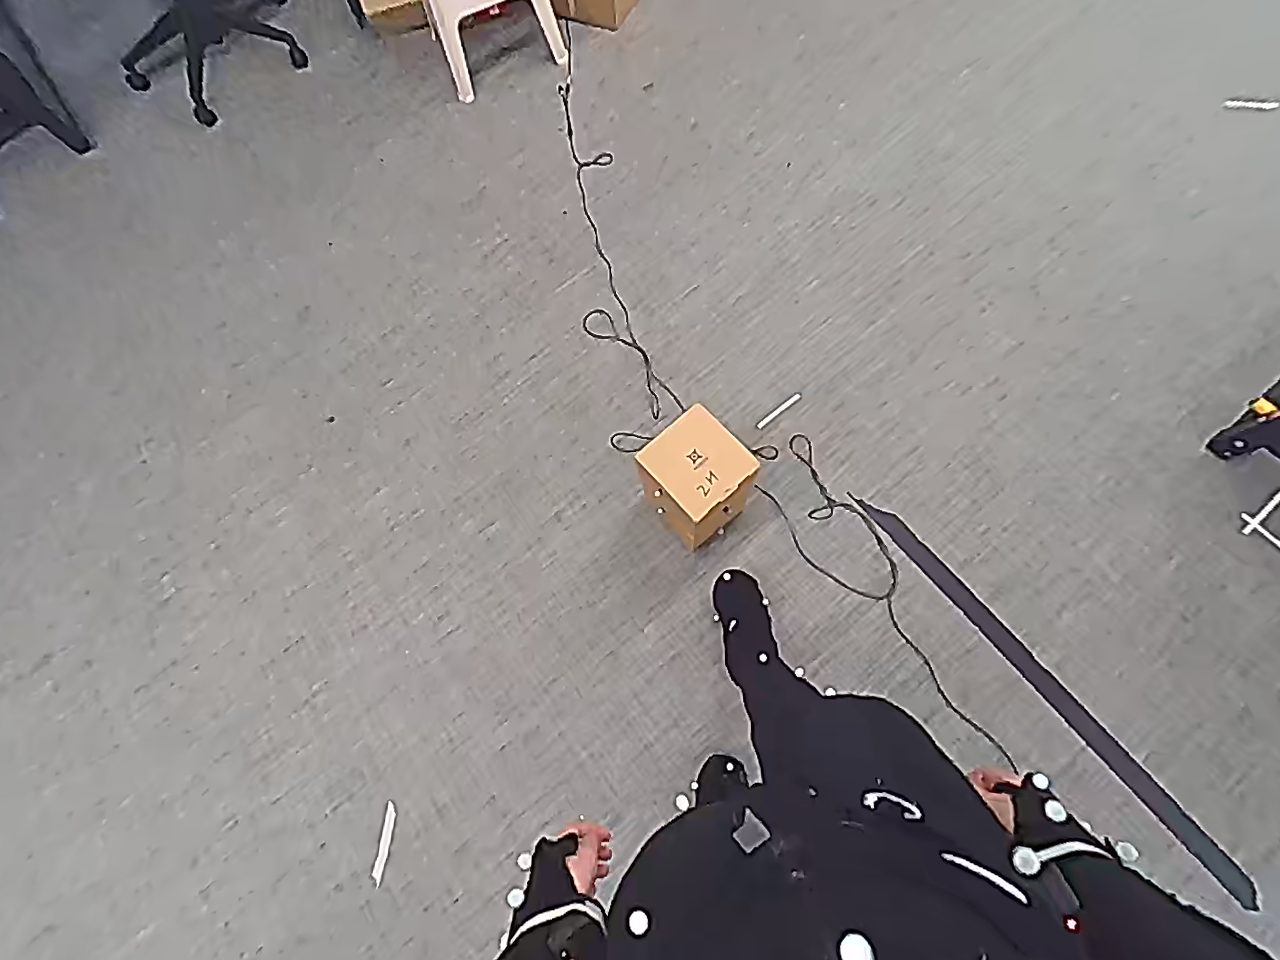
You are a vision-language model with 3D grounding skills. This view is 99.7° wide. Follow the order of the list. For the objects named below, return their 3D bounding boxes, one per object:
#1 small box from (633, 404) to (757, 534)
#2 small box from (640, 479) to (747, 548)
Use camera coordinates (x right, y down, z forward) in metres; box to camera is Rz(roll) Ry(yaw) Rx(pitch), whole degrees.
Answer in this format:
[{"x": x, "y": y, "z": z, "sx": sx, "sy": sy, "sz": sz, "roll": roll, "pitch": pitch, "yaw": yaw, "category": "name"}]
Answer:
[{"x": 0.106, "y": -0.013, "z": 1.077, "sx": 0.168, "sy": 0.176, "sz": 0.179, "roll": -40, "pitch": 75, "yaw": -7, "category": "small box"}, {"x": 0.118, "y": 0.034, "z": 1.234, "sx": 0.168, "sy": 0.176, "sz": 0.179, "roll": -39, "pitch": 75, "yaw": -7, "category": "small box"}]
